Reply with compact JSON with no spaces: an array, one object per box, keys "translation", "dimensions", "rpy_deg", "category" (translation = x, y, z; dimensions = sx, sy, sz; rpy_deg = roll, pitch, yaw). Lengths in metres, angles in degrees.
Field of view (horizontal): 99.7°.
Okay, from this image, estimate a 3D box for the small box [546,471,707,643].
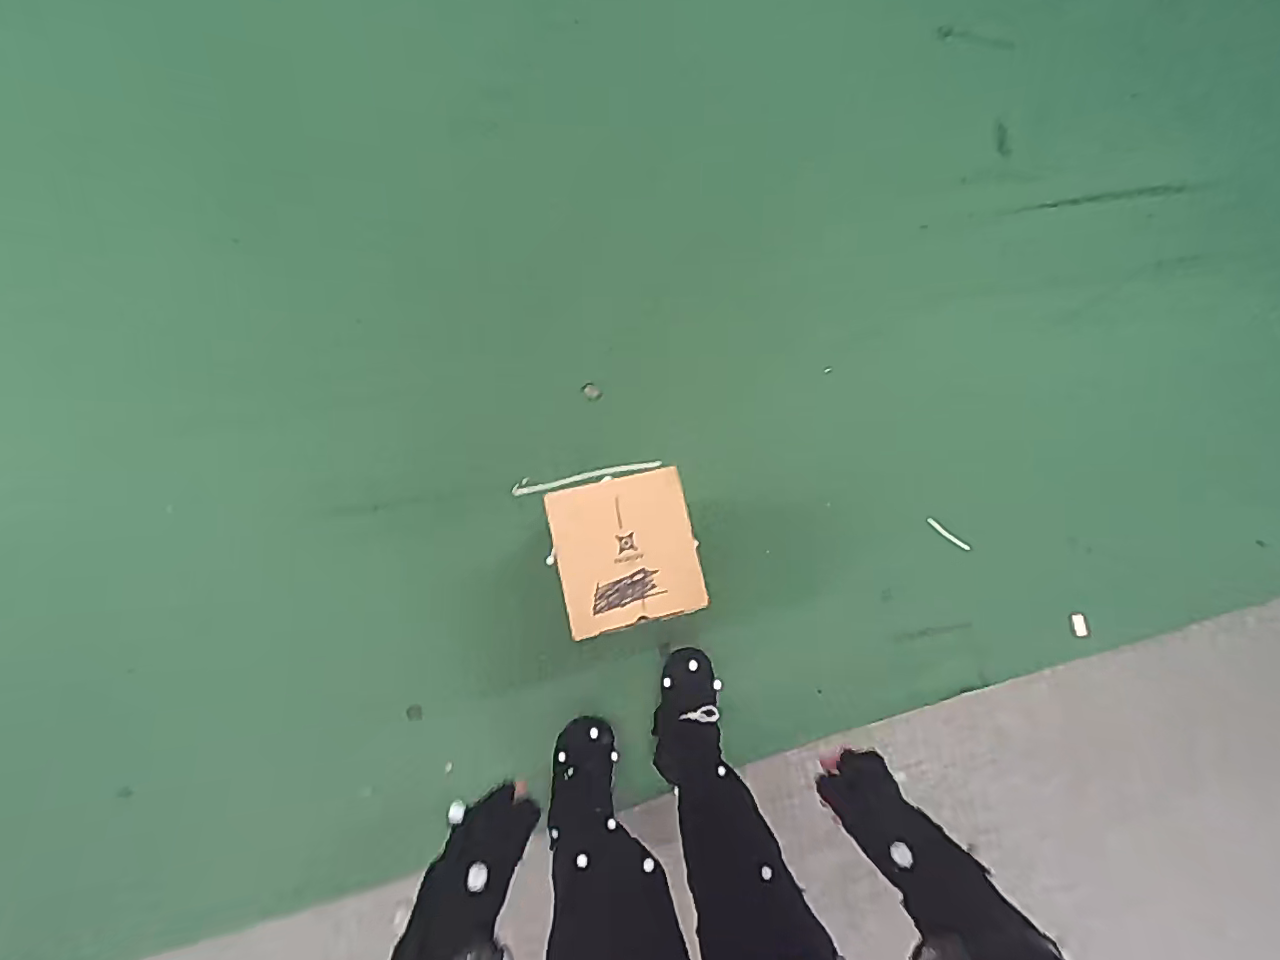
[{"translation":[-0.024,0.098,0.718],"dimensions":[0.168,0.176,0.179],"rpy_deg":[-12,83,-9],"category":"small box"}]
